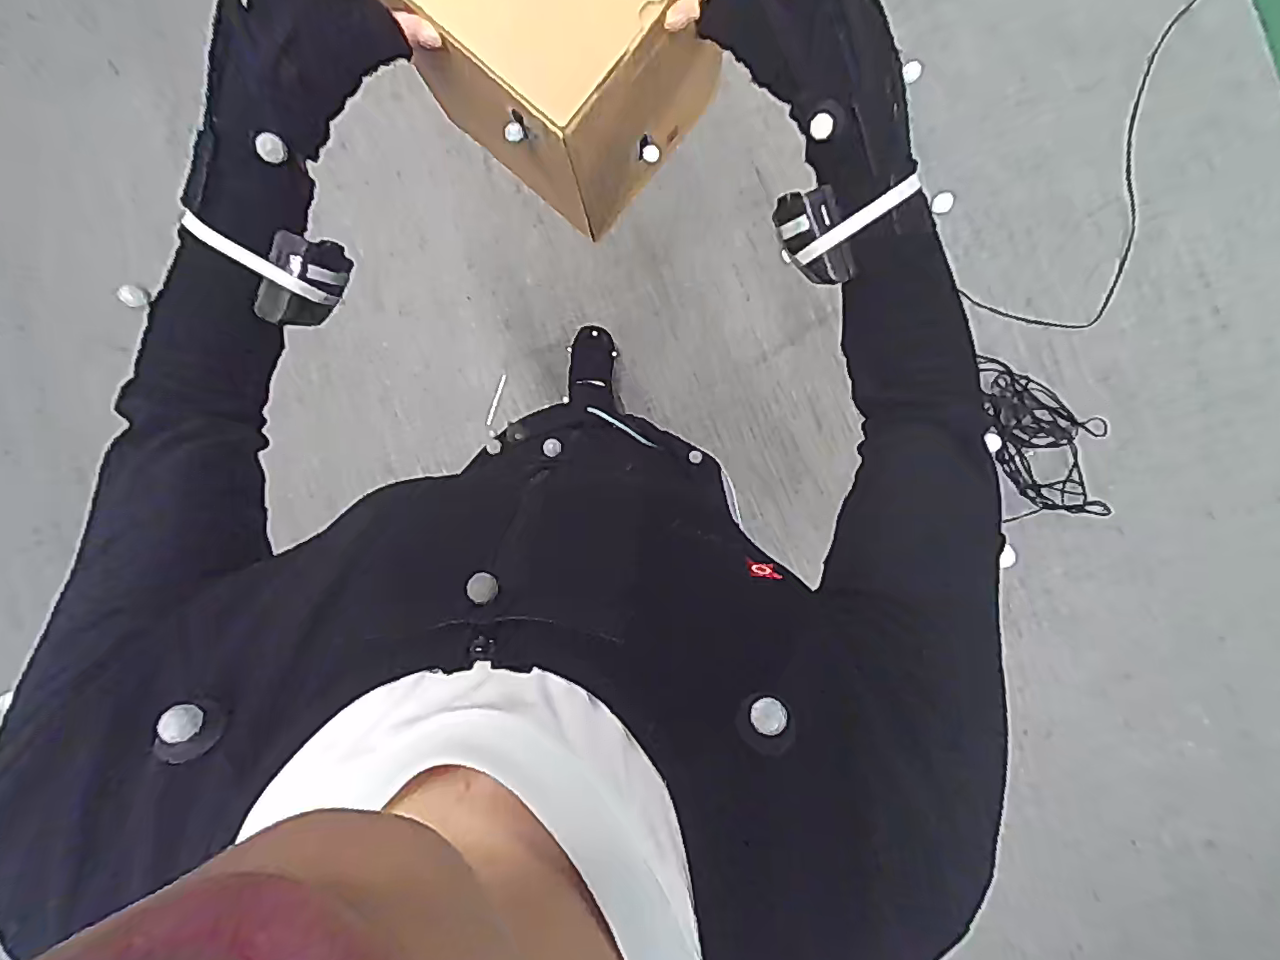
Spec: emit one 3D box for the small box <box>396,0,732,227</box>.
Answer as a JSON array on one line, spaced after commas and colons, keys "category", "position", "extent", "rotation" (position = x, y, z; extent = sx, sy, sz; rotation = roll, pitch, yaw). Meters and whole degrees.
[{"category": "small box", "position": [-0.053, -0.328, 0.398], "extent": [0.179, 0.176, 0.168], "rotation": [41, 93, -2]}]
